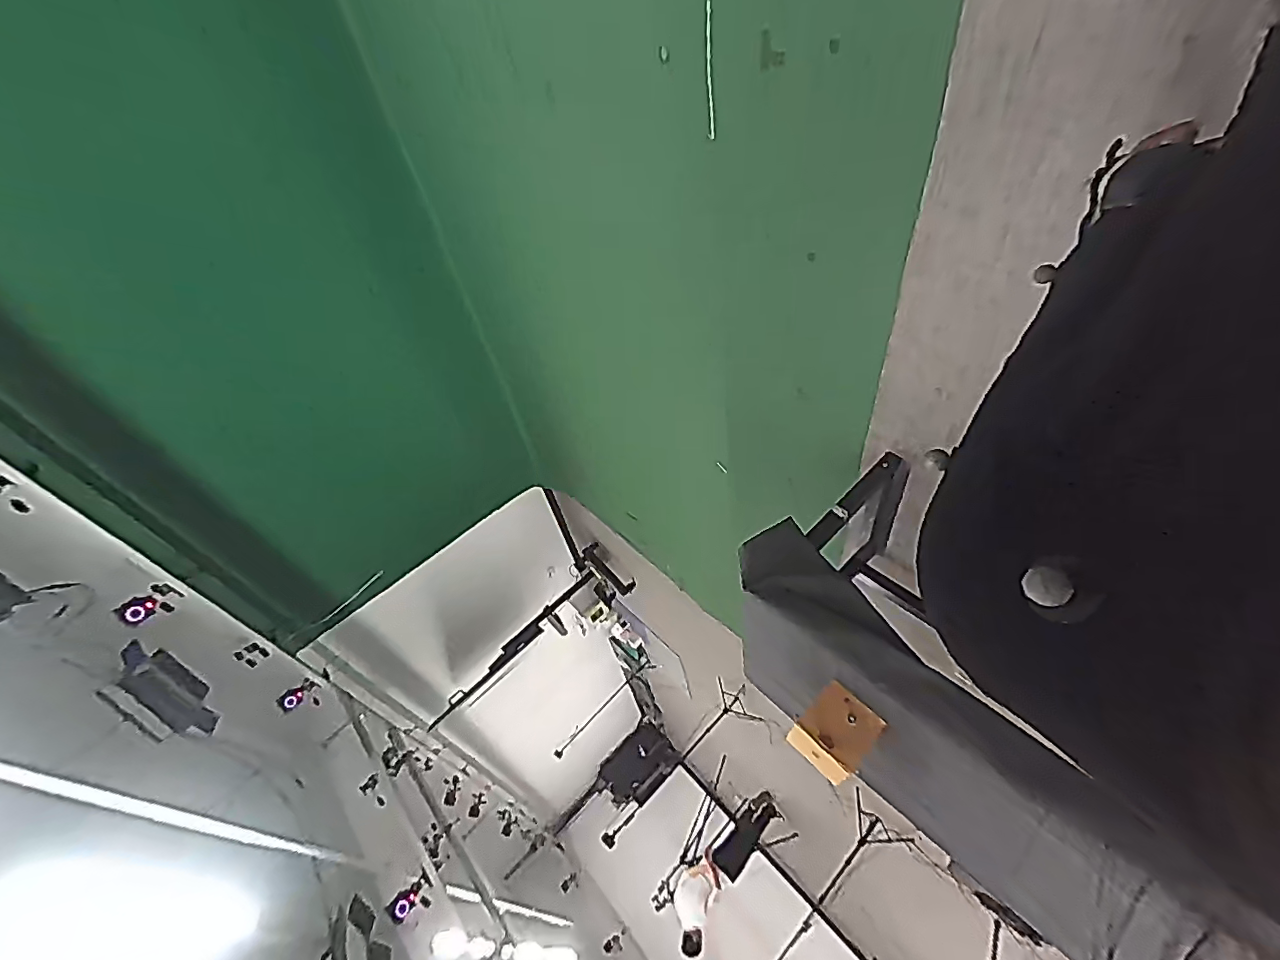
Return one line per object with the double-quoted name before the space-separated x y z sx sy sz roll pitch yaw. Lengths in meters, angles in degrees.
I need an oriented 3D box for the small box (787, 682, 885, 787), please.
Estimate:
"small box" 0.518 0.673 1.434 0.168 0.176 0.179 39 154 30
